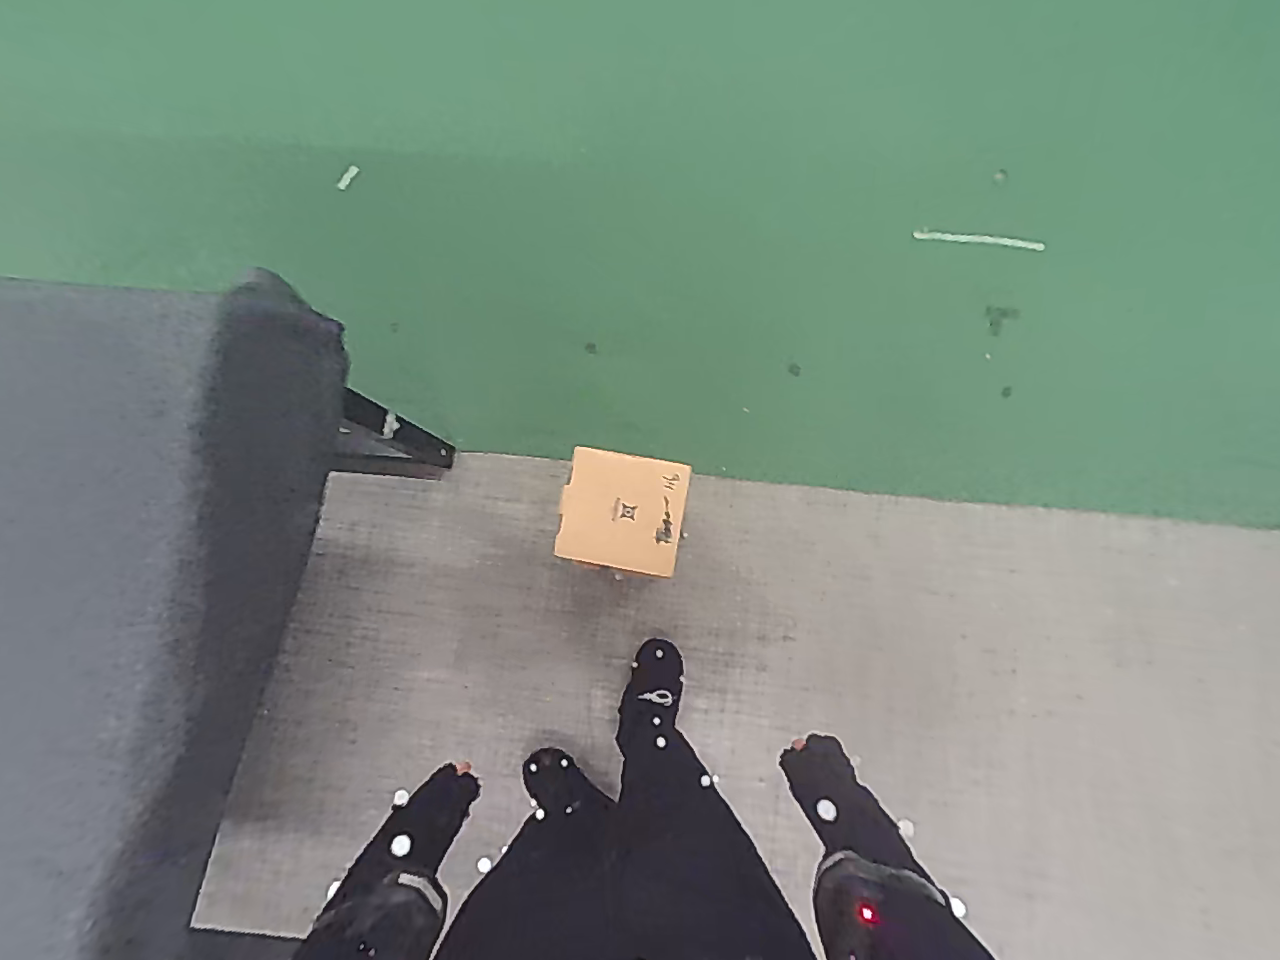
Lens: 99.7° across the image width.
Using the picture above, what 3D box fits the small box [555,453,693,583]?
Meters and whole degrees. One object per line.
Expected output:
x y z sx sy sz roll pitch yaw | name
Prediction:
-0.017 0.067 0.861 0.179 0.176 0.168 11 81 6 | small box
